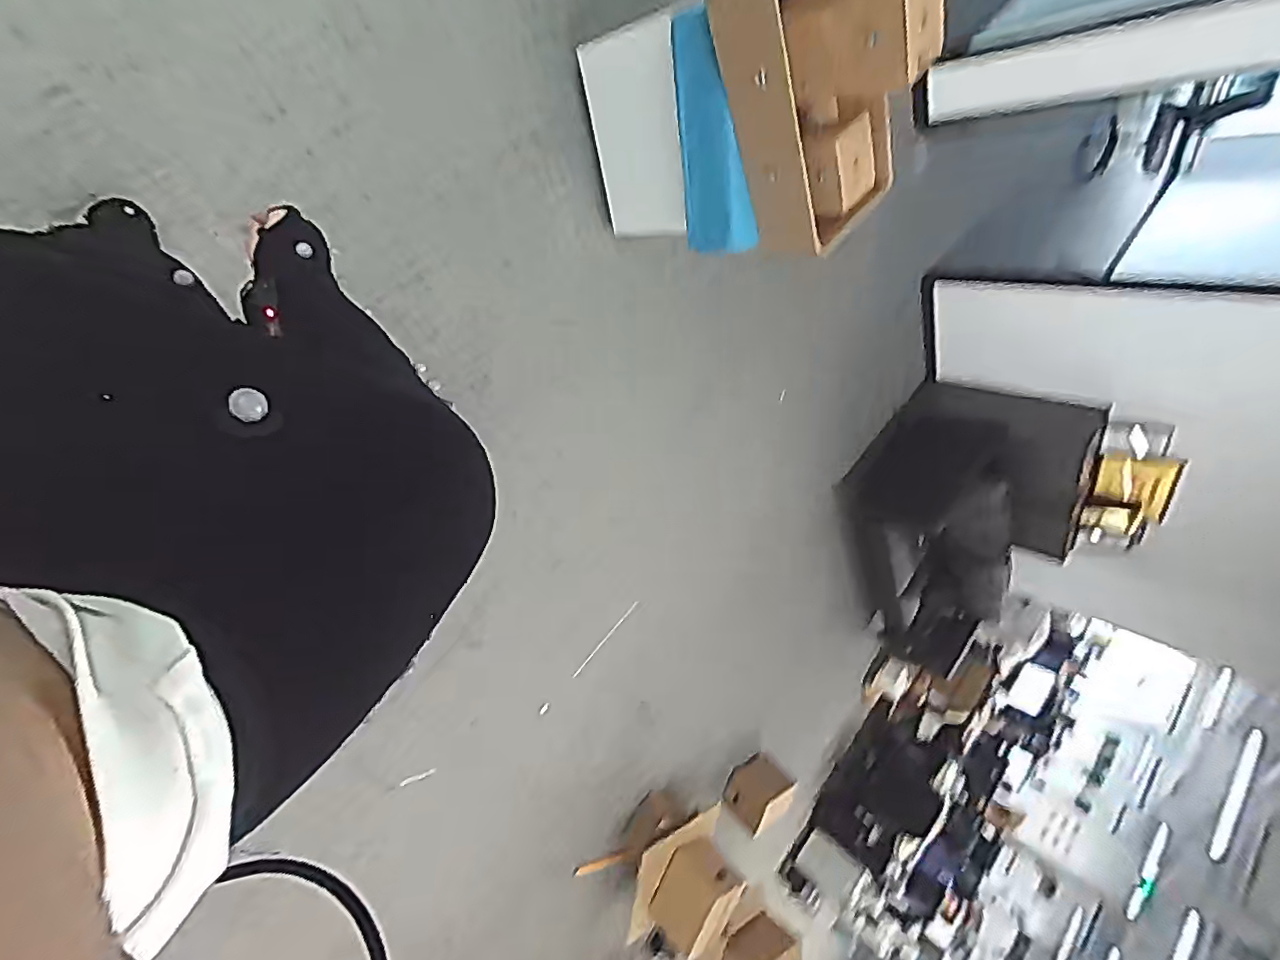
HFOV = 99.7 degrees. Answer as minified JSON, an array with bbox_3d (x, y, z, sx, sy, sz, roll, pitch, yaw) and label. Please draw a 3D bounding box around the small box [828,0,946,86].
[{"bbox_3d":[0.515,-0.971,1.133,0.168,0.176,0.179,-50,136,-16],"label":"small box"}]
